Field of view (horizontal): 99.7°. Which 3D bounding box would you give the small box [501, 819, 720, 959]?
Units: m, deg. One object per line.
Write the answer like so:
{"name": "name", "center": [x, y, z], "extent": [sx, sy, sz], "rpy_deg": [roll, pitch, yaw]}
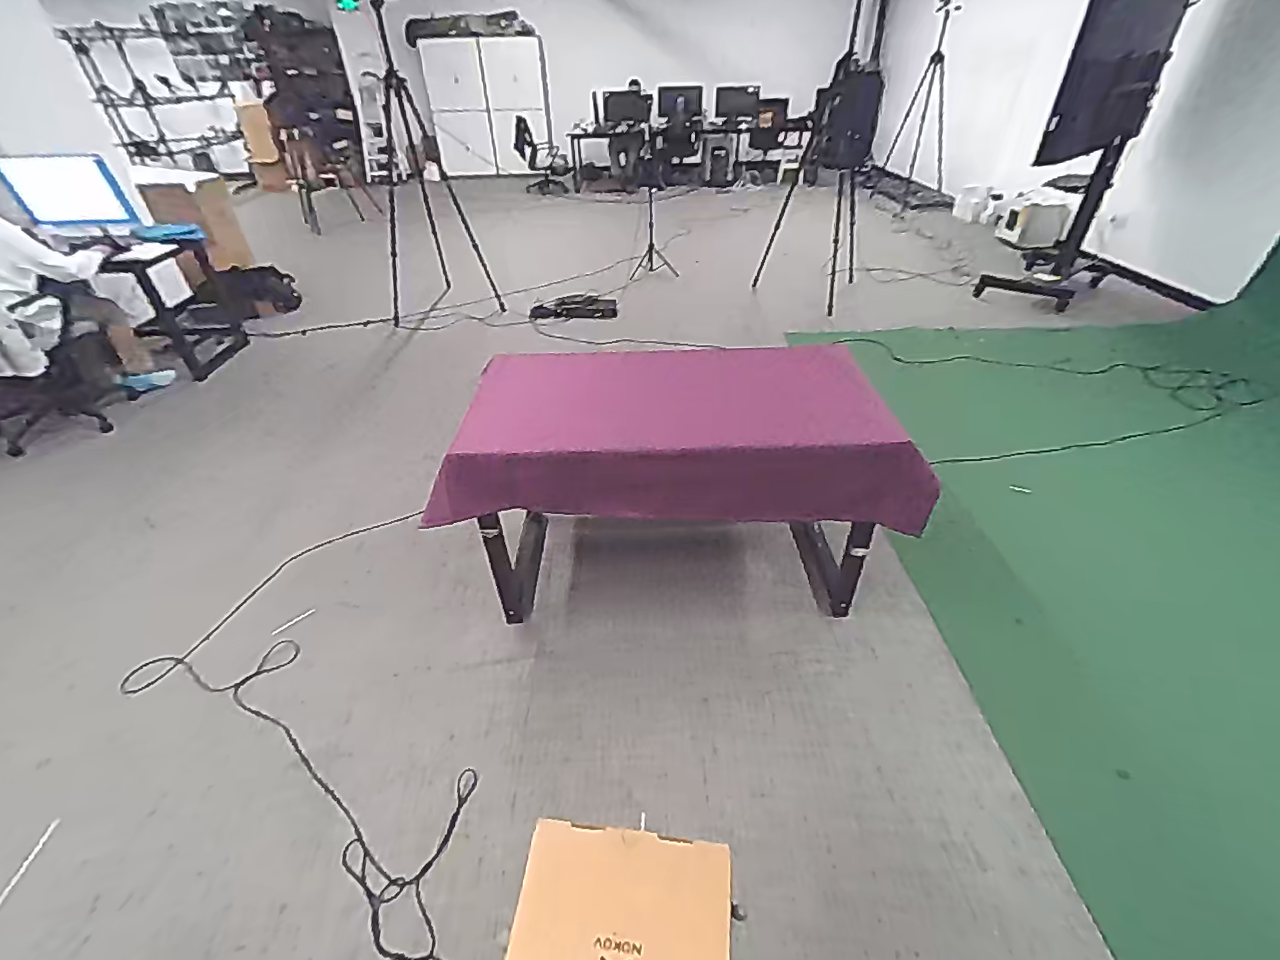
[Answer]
{"name": "small box", "center": [-0.020, 0.418, 0.462], "extent": [0.168, 0.176, 0.179], "rpy_deg": [3, 47, 7]}
